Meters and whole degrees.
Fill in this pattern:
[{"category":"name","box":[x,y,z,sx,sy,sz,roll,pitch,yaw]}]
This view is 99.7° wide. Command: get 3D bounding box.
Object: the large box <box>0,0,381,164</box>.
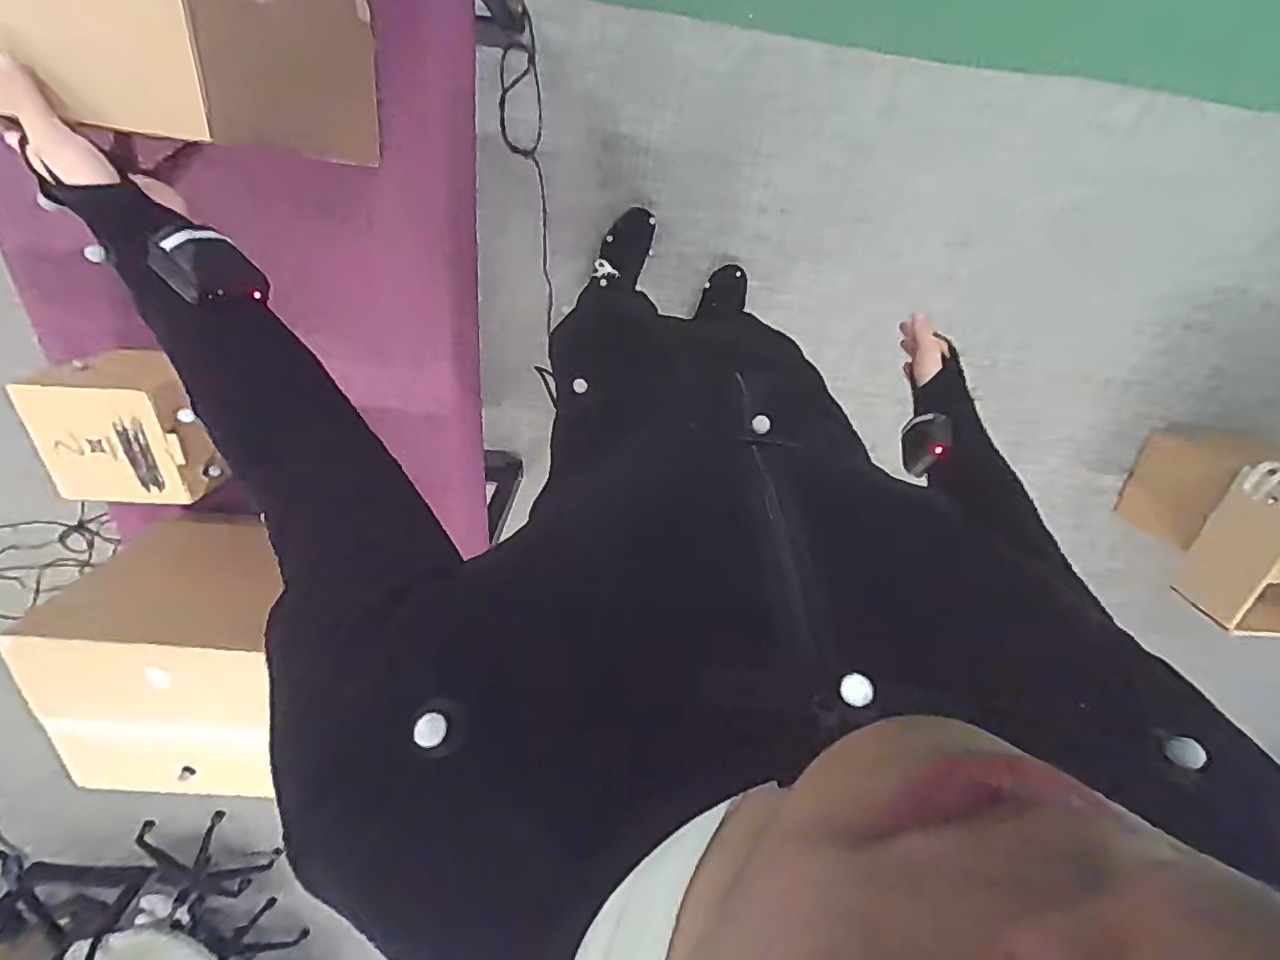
[{"category":"large box","box":[-0.502,-0.485,0.474,0.408,0.320,0.320,5,117,-4]}]
